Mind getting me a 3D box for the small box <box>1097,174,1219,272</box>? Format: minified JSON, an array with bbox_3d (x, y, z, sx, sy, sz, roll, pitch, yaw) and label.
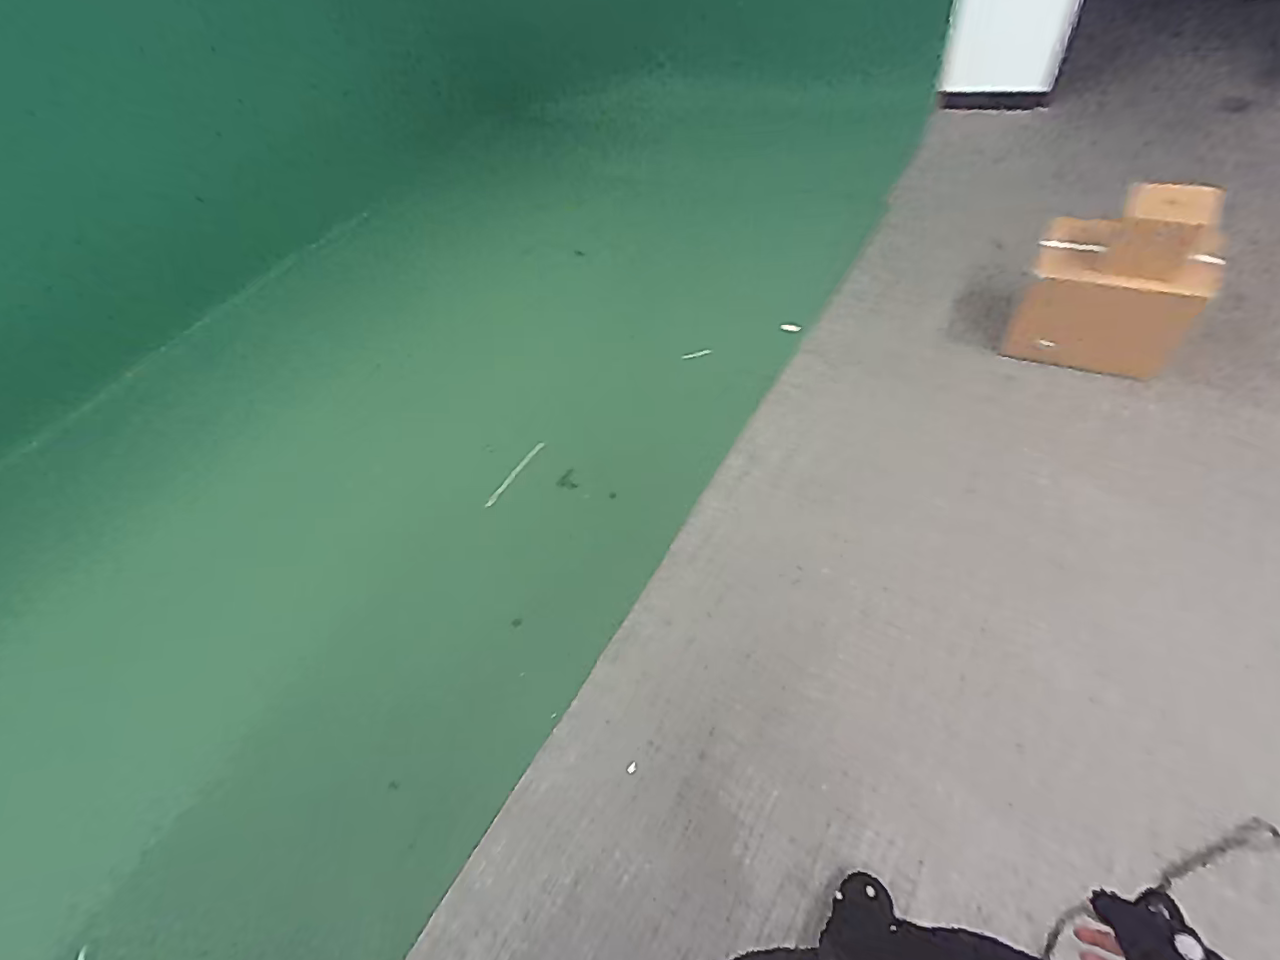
[{"bbox_3d":[1.361,-0.679,1.431,0.179,0.176,0.168,23,65,26],"label":"small box"}]
